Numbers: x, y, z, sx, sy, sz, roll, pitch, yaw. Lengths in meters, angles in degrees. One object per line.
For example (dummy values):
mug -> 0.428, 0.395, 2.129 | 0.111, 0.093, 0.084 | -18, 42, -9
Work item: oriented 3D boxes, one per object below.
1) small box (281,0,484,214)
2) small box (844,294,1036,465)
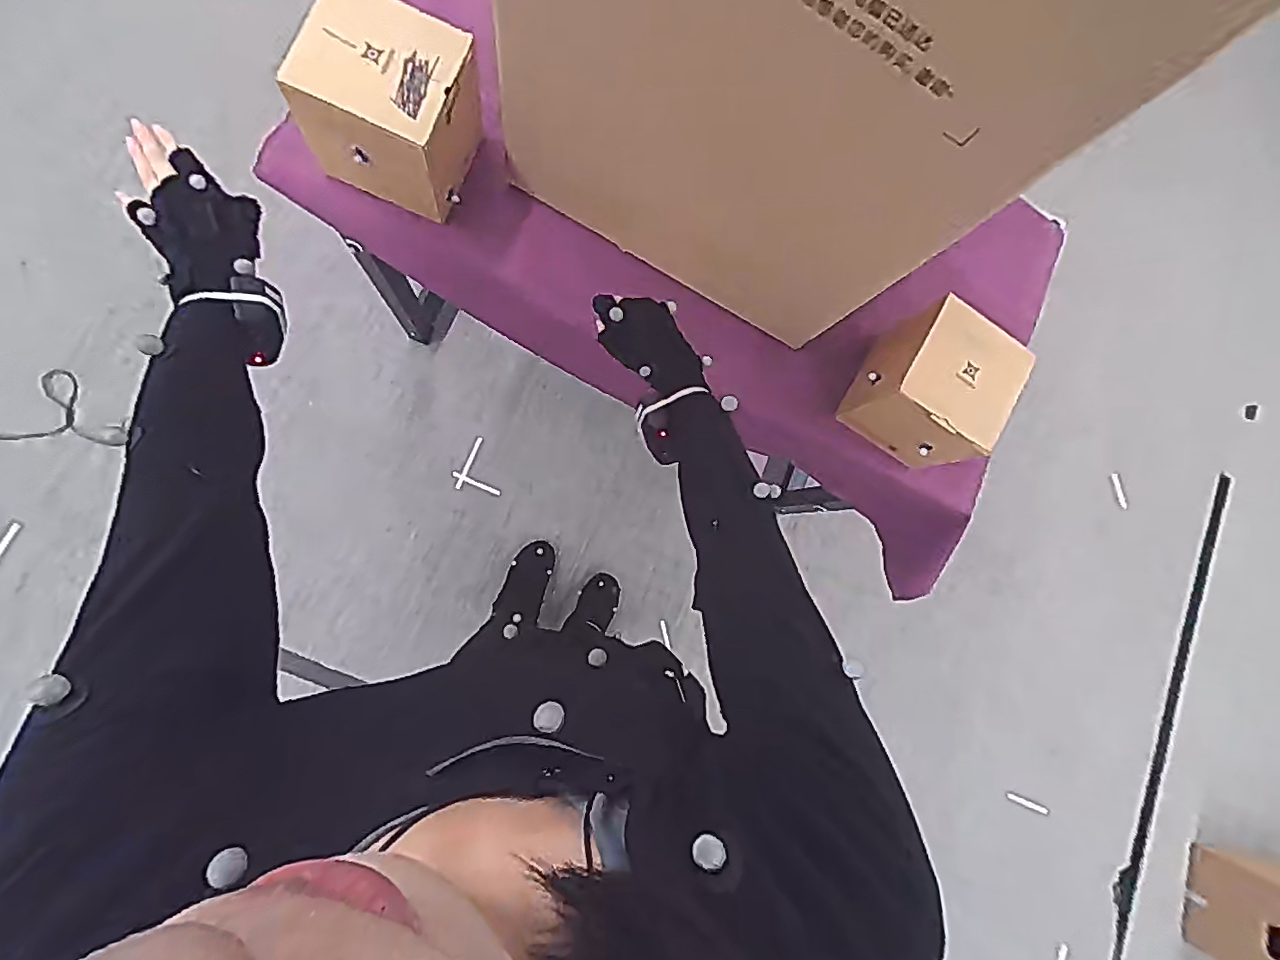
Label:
small box -> -0.319, -0.490, 0.716 | 0.179, 0.176, 0.168 | 21, 80, -9
small box -> 0.446, -0.140, 0.833 | 0.168, 0.176, 0.179 | 32, 78, -7
